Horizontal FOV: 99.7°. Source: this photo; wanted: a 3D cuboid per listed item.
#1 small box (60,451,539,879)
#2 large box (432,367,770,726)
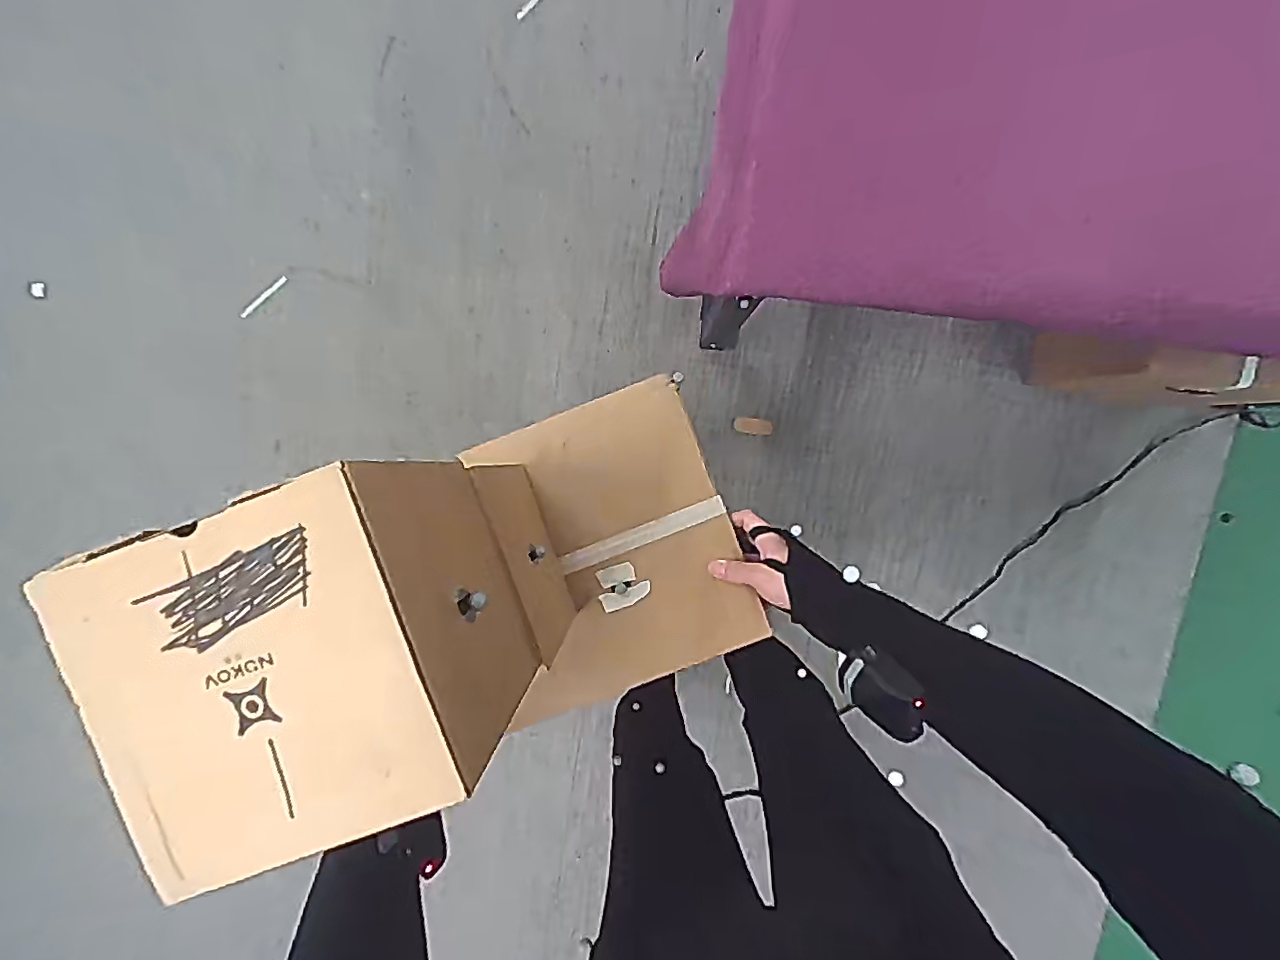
[{"bbox_3d":[-0.181,0.091,0.347,0.168,0.176,0.179,-20,92,2],"label":"small box"},{"bbox_3d":[-0.090,0.086,0.754,0.408,0.320,0.320,-21,92,1],"label":"large box"}]
